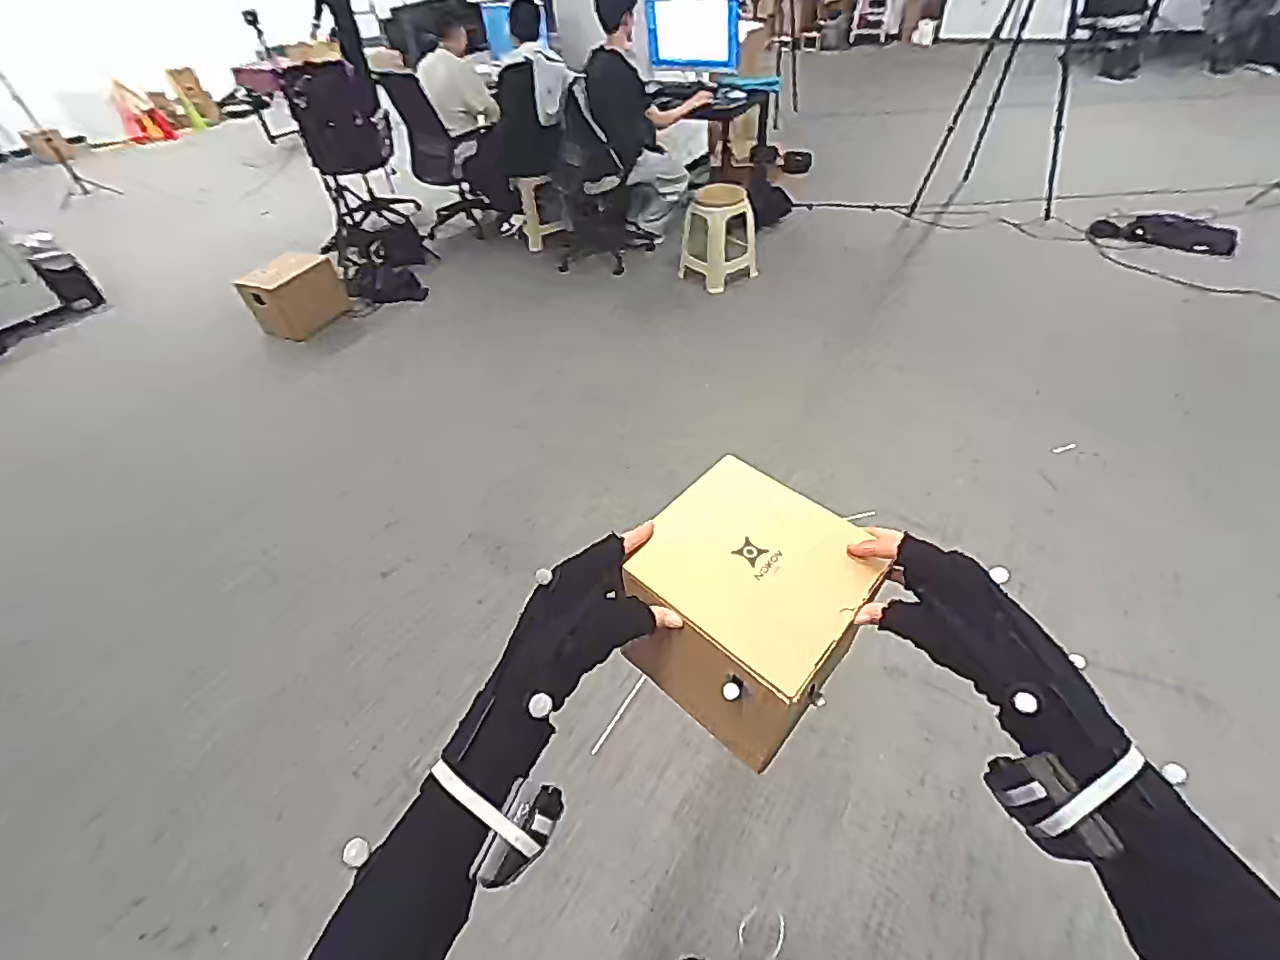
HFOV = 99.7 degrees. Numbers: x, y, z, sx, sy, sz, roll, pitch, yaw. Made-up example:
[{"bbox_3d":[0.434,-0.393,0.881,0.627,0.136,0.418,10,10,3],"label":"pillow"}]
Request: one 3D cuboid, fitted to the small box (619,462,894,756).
[{"bbox_3d":[0.095,0.121,0.511,0.179,0.176,0.168,36,56,27],"label":"small box"}]
